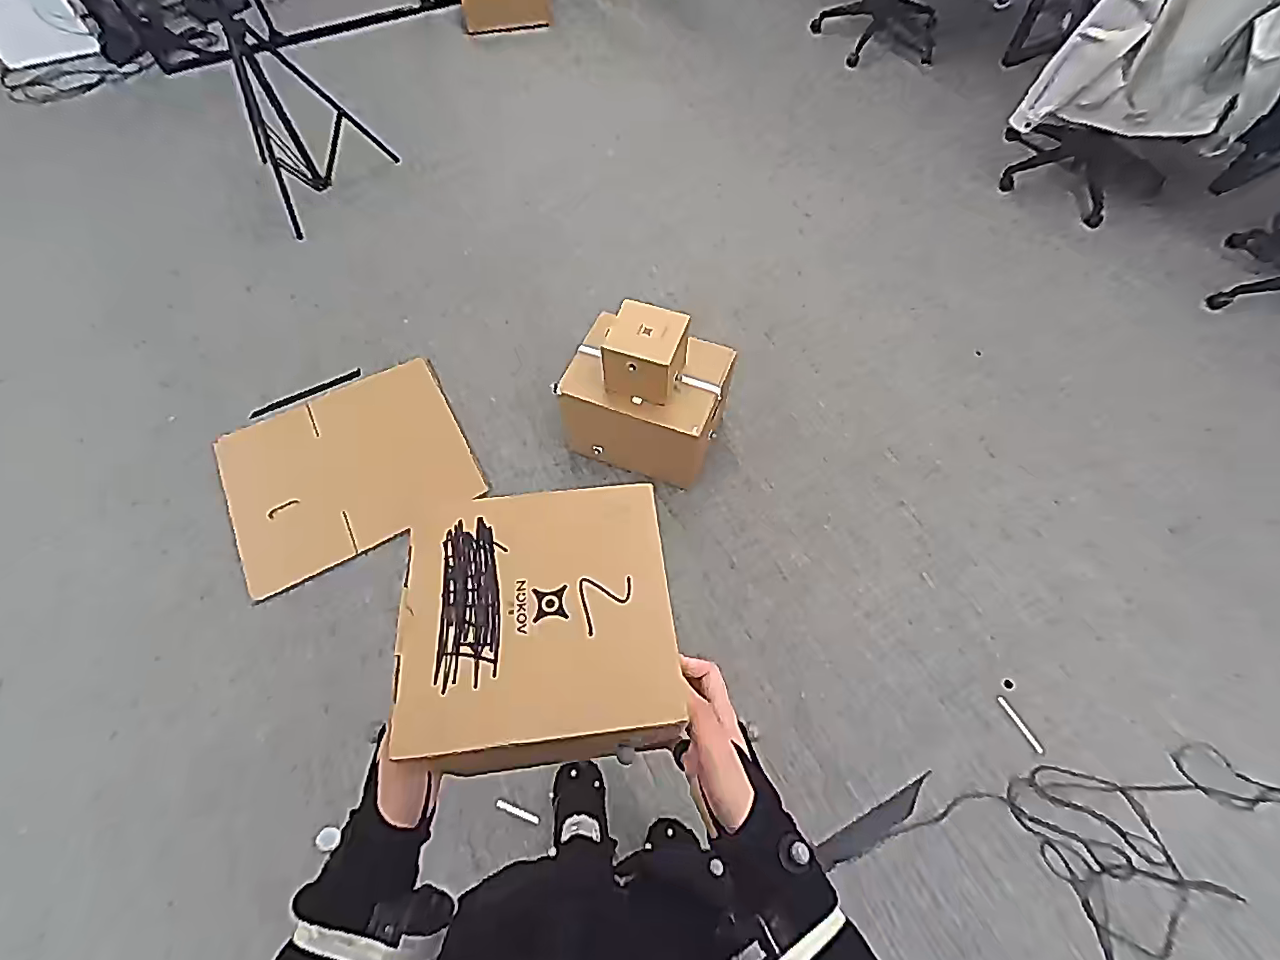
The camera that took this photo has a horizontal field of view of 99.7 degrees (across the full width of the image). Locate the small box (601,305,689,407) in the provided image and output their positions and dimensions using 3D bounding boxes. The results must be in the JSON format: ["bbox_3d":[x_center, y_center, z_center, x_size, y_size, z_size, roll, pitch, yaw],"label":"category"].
[{"bbox_3d":[0.014,-0.308,1.374,0.179,0.176,0.168,17,65,9],"label":"small box"}]
